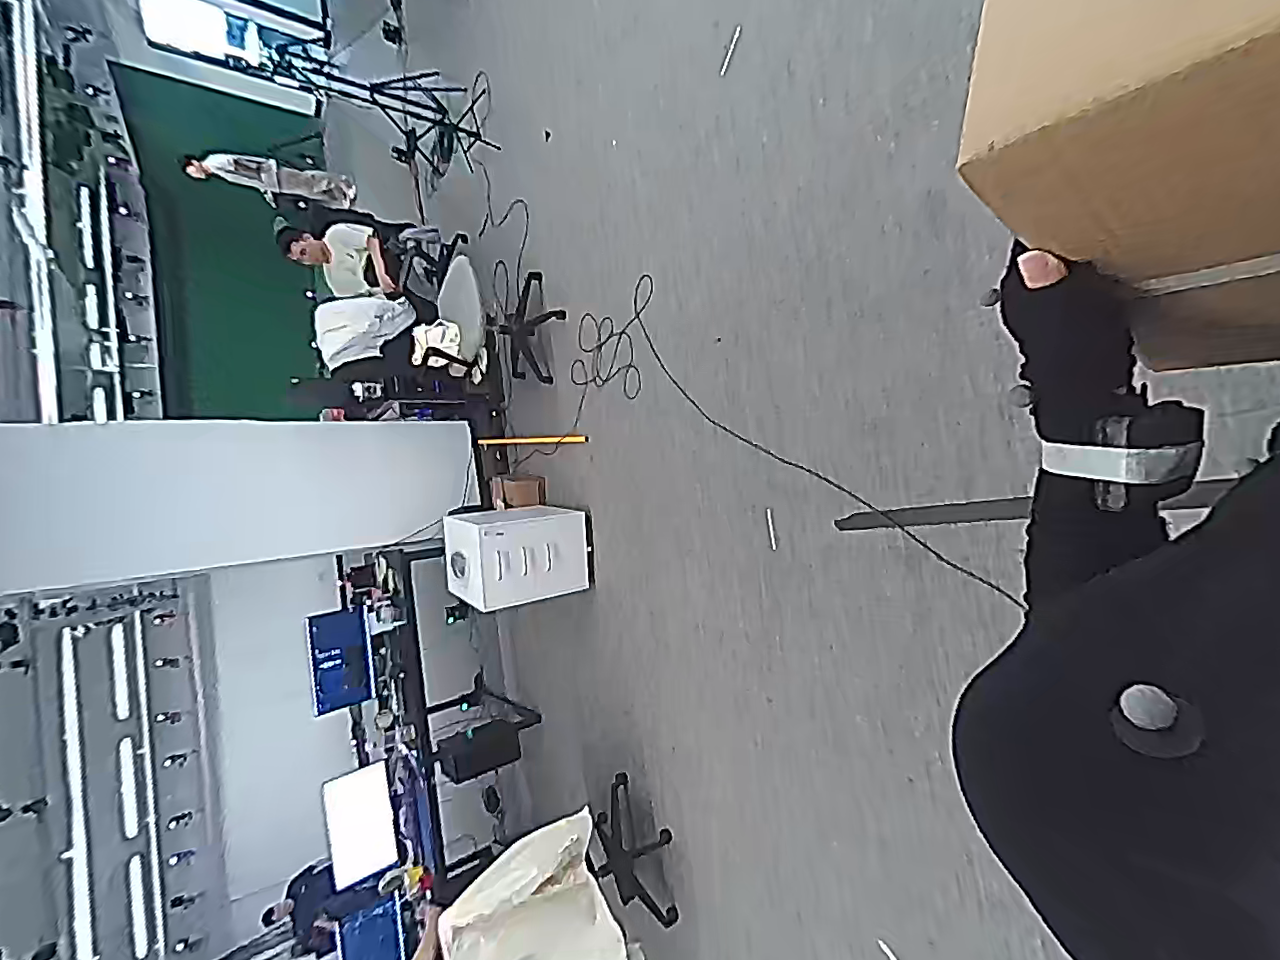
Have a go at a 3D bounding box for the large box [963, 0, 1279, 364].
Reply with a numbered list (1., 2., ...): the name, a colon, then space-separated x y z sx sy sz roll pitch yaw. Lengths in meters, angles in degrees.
1. large box: 0.414 -0.262 0.192 0.408 0.320 0.320 4 82 57
